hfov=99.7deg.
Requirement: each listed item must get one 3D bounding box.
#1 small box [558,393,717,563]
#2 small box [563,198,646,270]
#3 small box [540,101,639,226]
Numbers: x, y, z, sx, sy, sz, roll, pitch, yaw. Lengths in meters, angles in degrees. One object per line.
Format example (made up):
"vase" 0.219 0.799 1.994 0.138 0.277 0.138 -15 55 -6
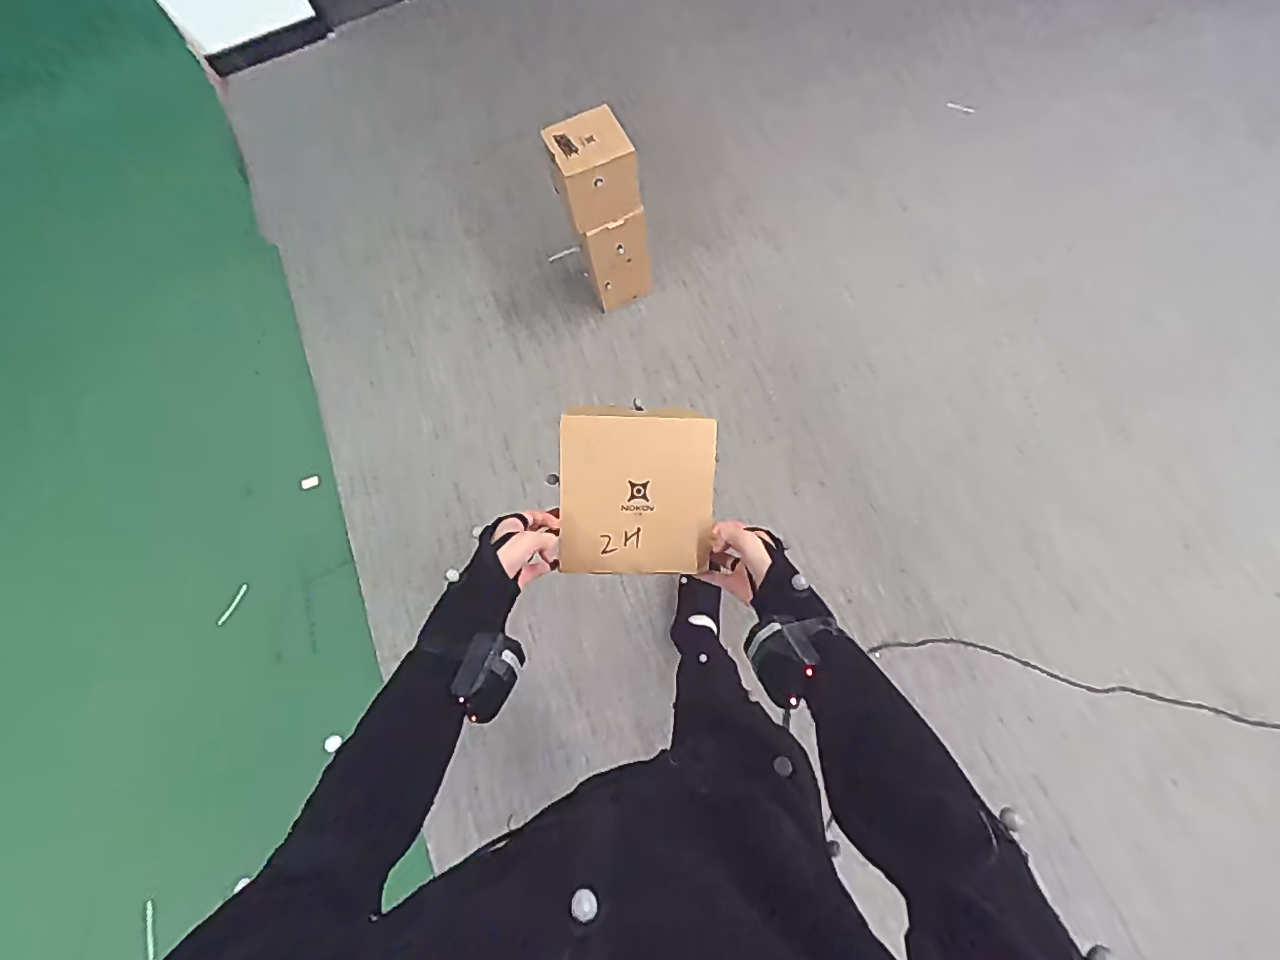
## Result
"small box" -0.011 -0.011 0.651 0.168 0.176 0.179 1 103 -5
"small box" -0.091 -0.696 1.452 0.168 0.176 0.179 -25 72 -4
"small box" -0.114 -0.749 1.297 0.179 0.176 0.168 -25 71 -4
